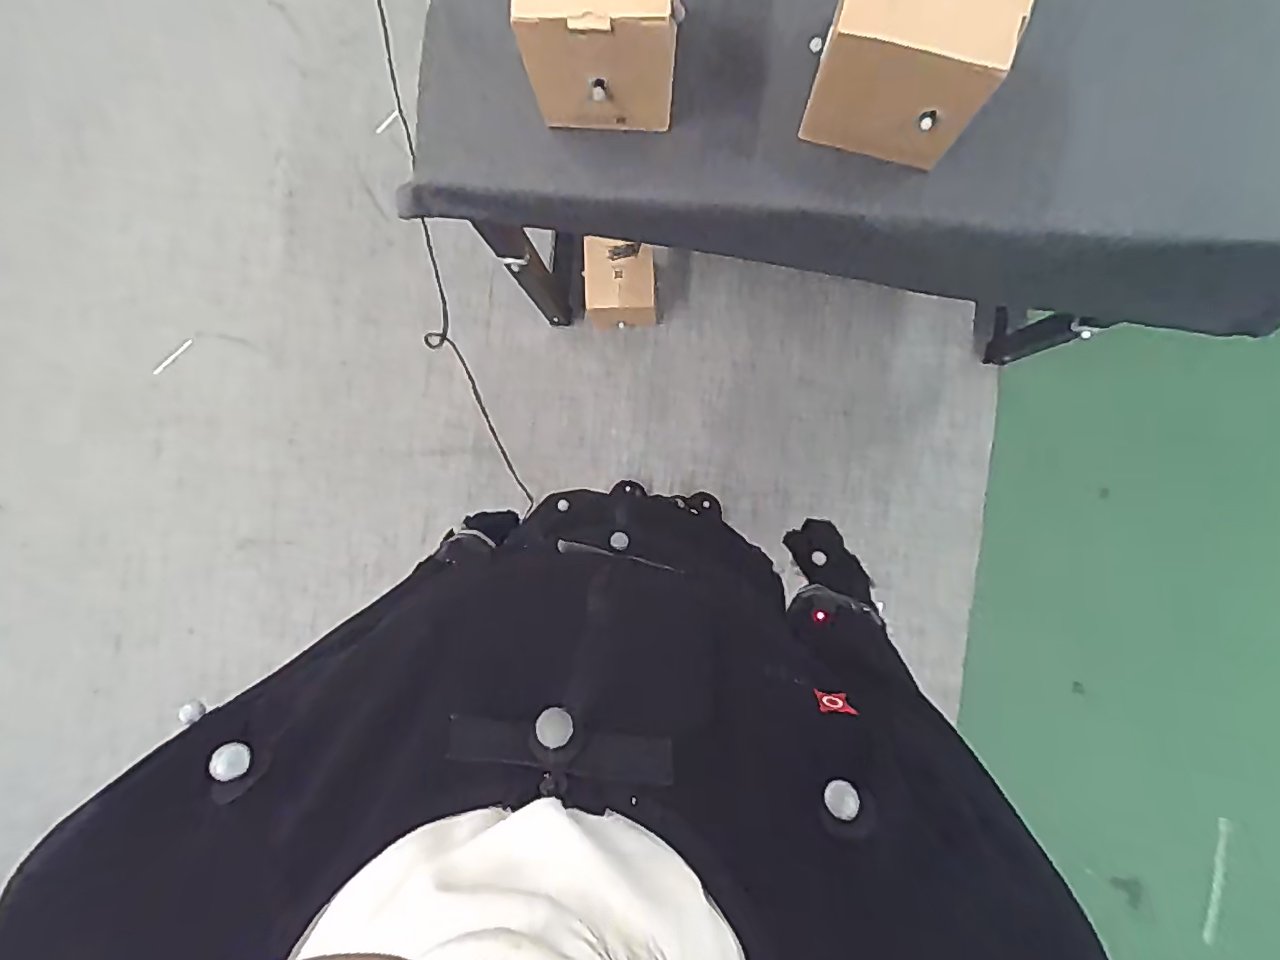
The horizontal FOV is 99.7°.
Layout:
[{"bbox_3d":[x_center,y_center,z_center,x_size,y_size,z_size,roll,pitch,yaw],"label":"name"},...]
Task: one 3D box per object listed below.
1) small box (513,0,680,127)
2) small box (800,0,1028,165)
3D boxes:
[{"bbox_3d":[-0.039,-0.548,0.629,0.168,0.176,0.179,4,89,2],"label":"small box"},{"bbox_3d":[0.304,-0.496,0.614,0.179,0.176,0.168,15,89,4],"label":"small box"}]
